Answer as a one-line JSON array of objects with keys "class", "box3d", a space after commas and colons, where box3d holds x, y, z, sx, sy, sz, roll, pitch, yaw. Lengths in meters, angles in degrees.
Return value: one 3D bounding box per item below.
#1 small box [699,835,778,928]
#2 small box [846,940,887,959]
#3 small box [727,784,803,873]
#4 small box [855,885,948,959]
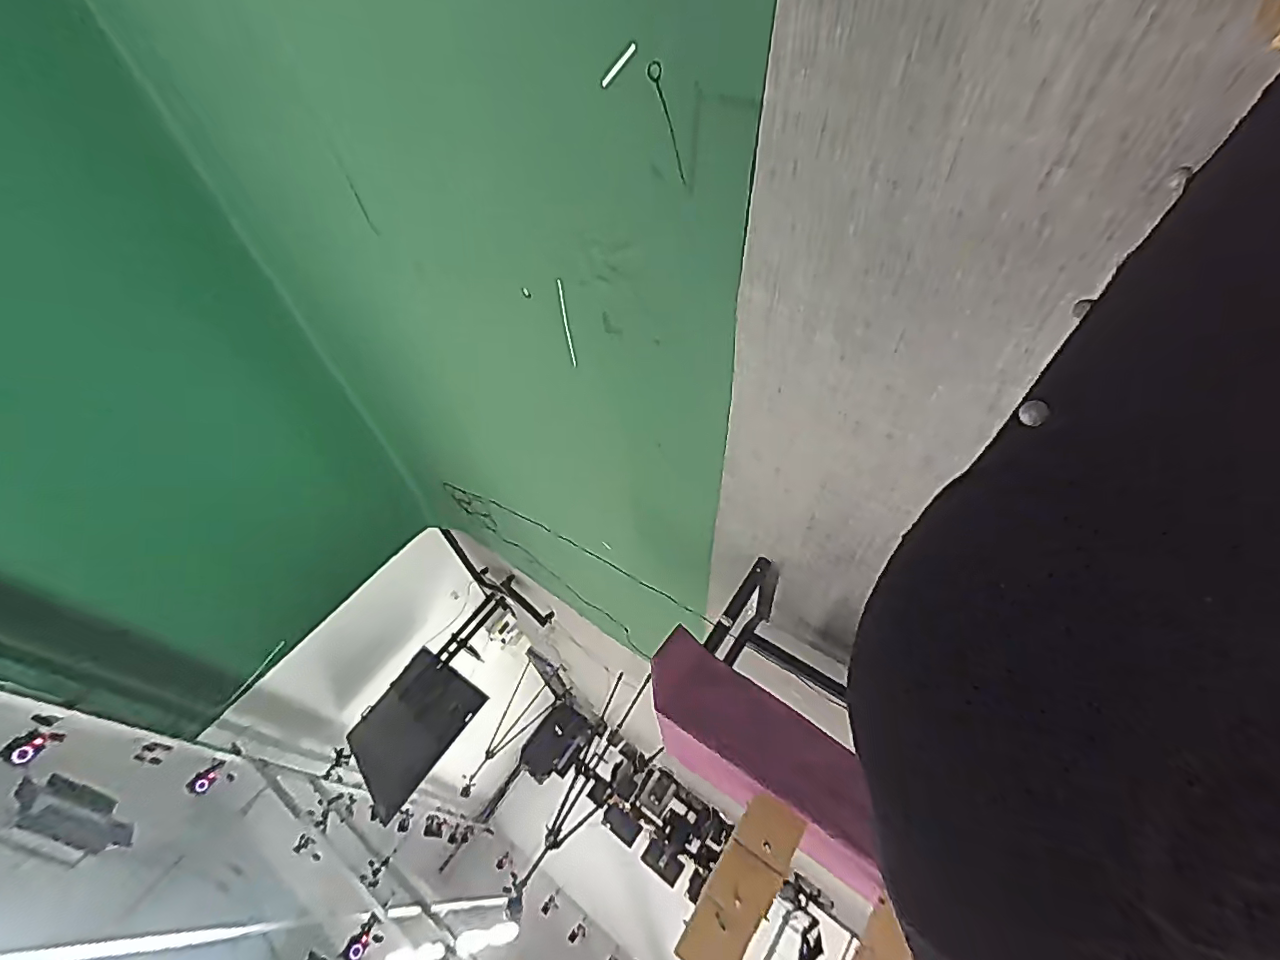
[{"class": "small box", "box3d": [0.298, 1.214, 1.647, 0.179, 0.176, 0.168, 27, 150, 24]}, {"class": "small box", "box3d": [0.651, 1.409, 1.473, 0.179, 0.176, 0.168, 29, 151, 22]}, {"class": "small box", "box3d": [0.397, 1.106, 1.719, 0.179, 0.176, 0.168, 29, 151, 24]}, {"class": "small box", "box3d": [0.748, 1.299, 1.546, 0.168, 0.176, 0.179, 29, 151, 23]}]
